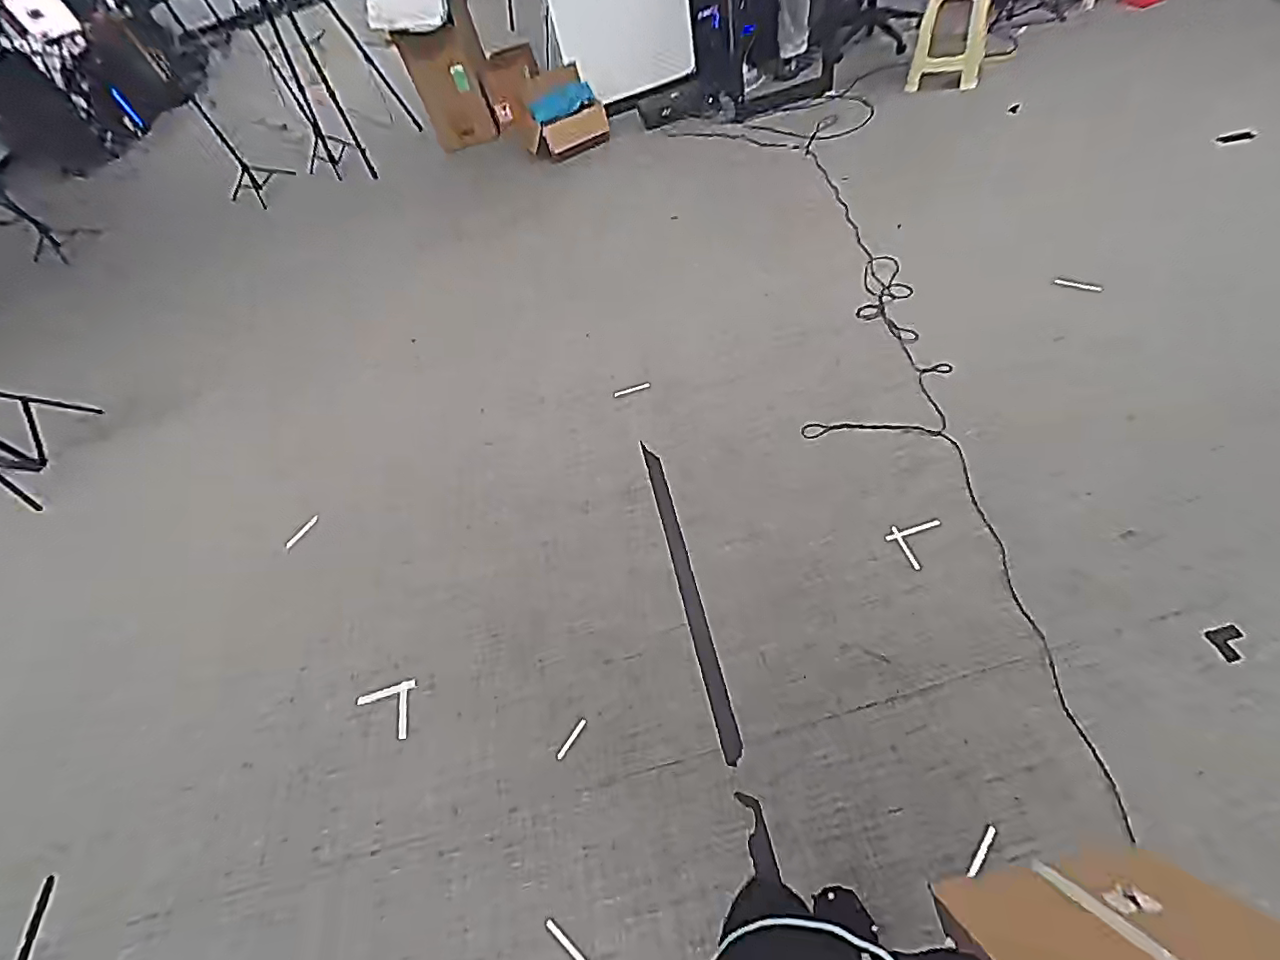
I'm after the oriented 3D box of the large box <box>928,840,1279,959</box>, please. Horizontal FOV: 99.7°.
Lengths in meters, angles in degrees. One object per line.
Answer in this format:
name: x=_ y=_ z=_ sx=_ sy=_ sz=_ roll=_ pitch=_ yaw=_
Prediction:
large box: x=0.596 y=0.662 z=0.581 sx=0.320 sy=0.408 sz=0.320 roll=-12 pitch=74 yaw=3
